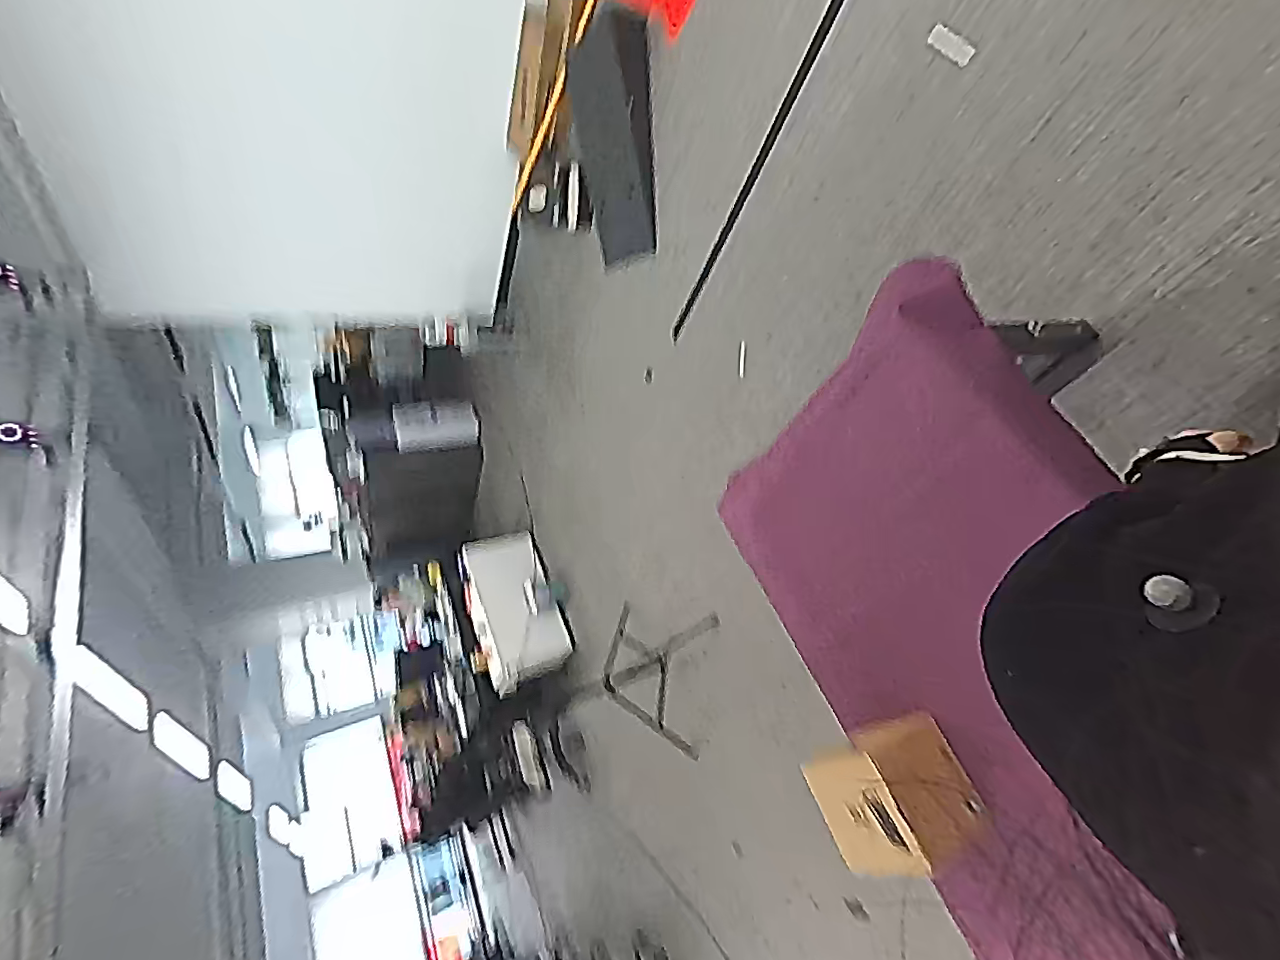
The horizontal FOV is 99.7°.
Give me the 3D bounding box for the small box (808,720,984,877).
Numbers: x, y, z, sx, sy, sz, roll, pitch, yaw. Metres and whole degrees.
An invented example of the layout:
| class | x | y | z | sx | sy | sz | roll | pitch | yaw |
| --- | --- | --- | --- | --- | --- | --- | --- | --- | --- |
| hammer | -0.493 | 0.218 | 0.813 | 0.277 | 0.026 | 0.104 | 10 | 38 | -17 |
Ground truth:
| class | x | y | z | sx | sy | sz | roll | pitch | yaw |
| --- | --- | --- | --- | --- | --- | --- | --- | --- | --- |
| small box | 0.422 | 0.516 | 0.888 | 0.168 | 0.176 | 0.179 | 65 | 146 | 23 |
